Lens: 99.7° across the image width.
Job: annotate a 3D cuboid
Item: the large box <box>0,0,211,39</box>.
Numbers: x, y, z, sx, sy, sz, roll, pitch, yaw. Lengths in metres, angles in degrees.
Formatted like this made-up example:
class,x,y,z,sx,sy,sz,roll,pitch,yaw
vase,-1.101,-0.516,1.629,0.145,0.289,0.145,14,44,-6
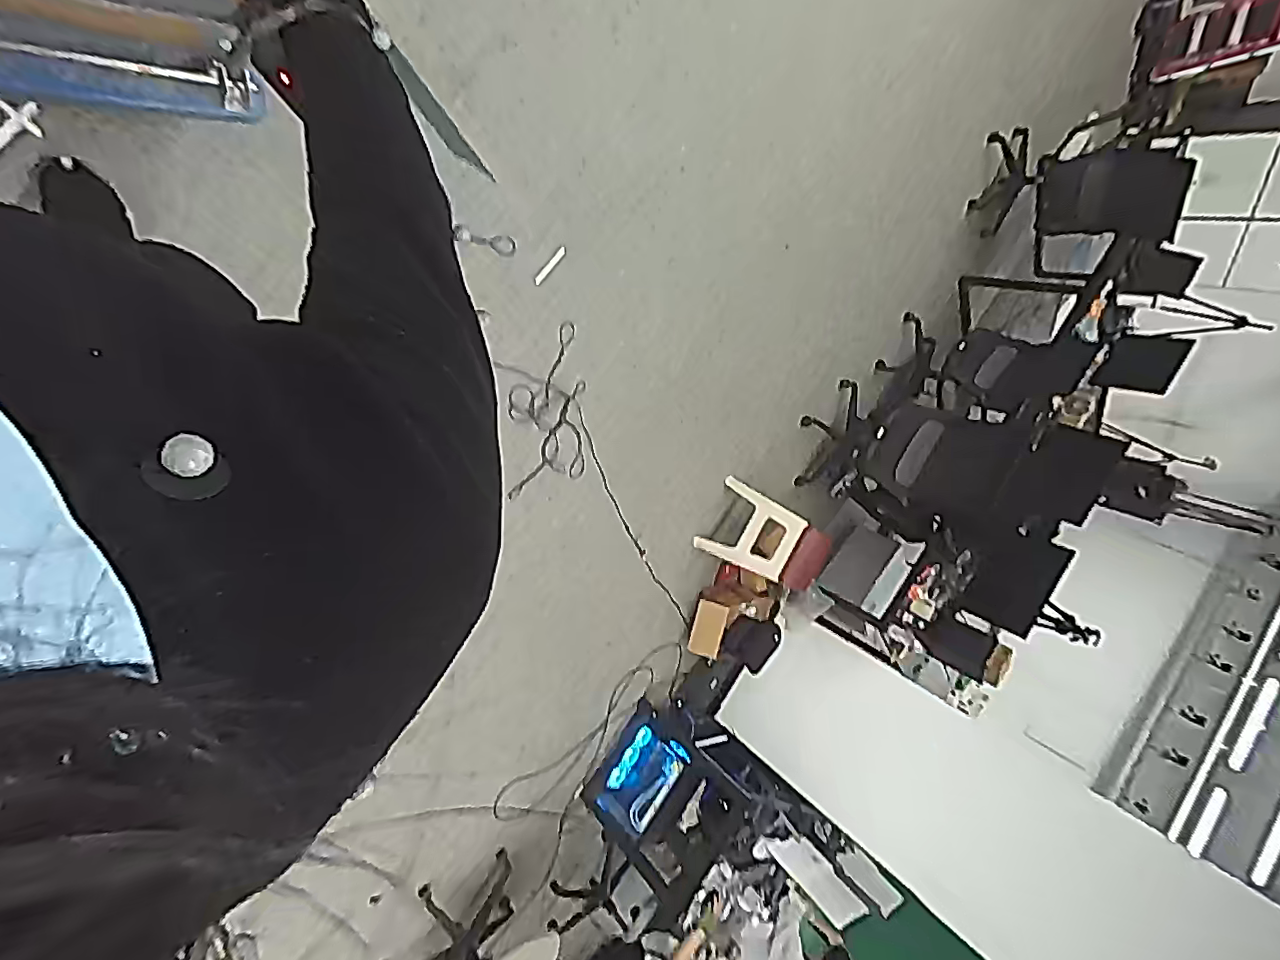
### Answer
class,x,y,z,sx,sy,sz,roll,pitch,yaw
large box,-0.774,-0.753,0.597,0.408,0.320,0.320,-19,123,-39
